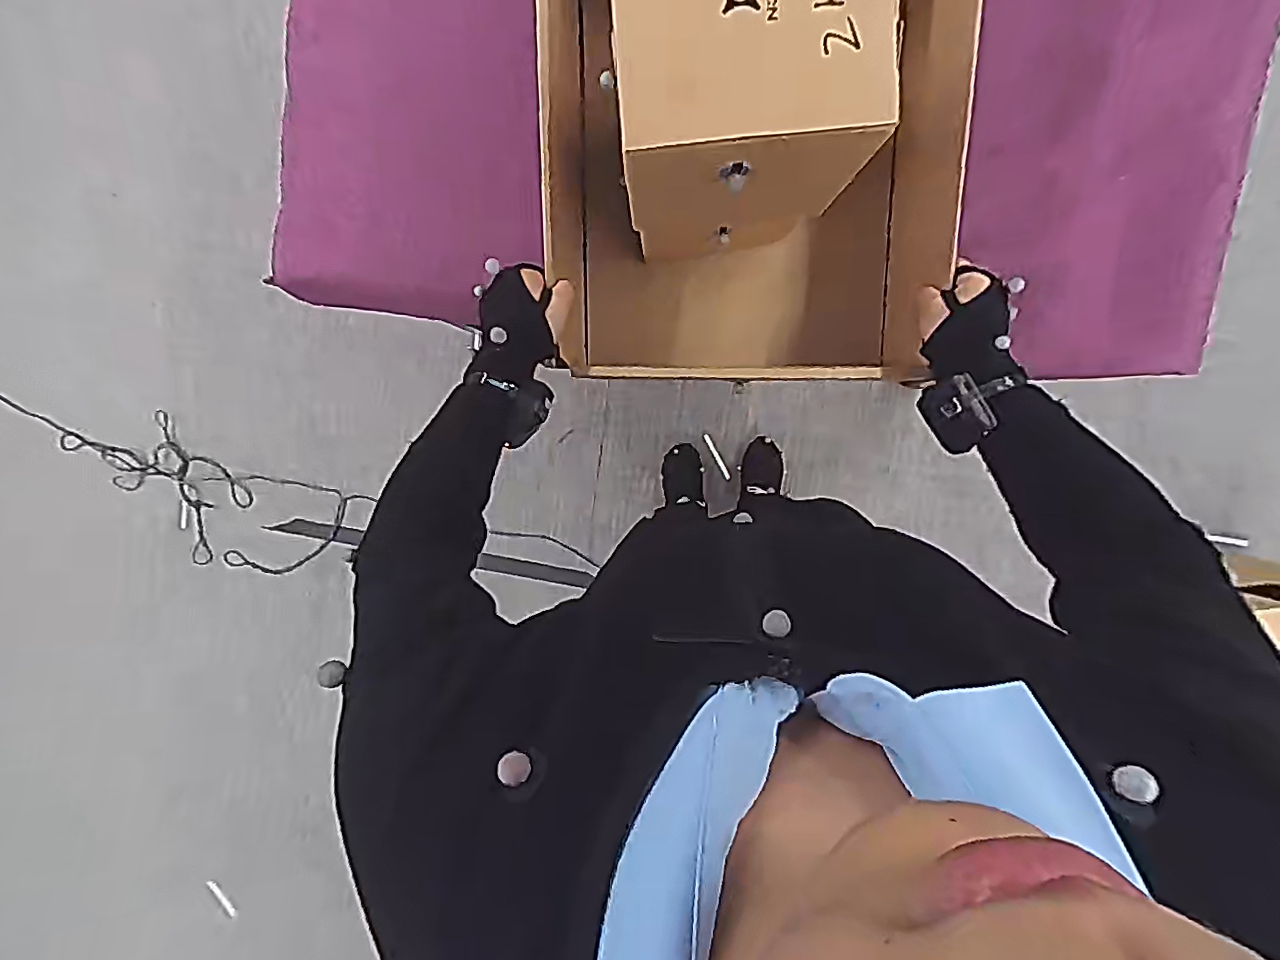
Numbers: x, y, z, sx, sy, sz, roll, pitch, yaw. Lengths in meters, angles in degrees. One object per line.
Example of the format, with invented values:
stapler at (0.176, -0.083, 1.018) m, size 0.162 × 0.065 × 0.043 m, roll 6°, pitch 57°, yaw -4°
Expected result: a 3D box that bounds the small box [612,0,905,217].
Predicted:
small box at (0.073, -0.310, 0.400) m, size 0.179 × 0.176 × 0.168 m, roll -4°, pitch 99°, yaw 2°
